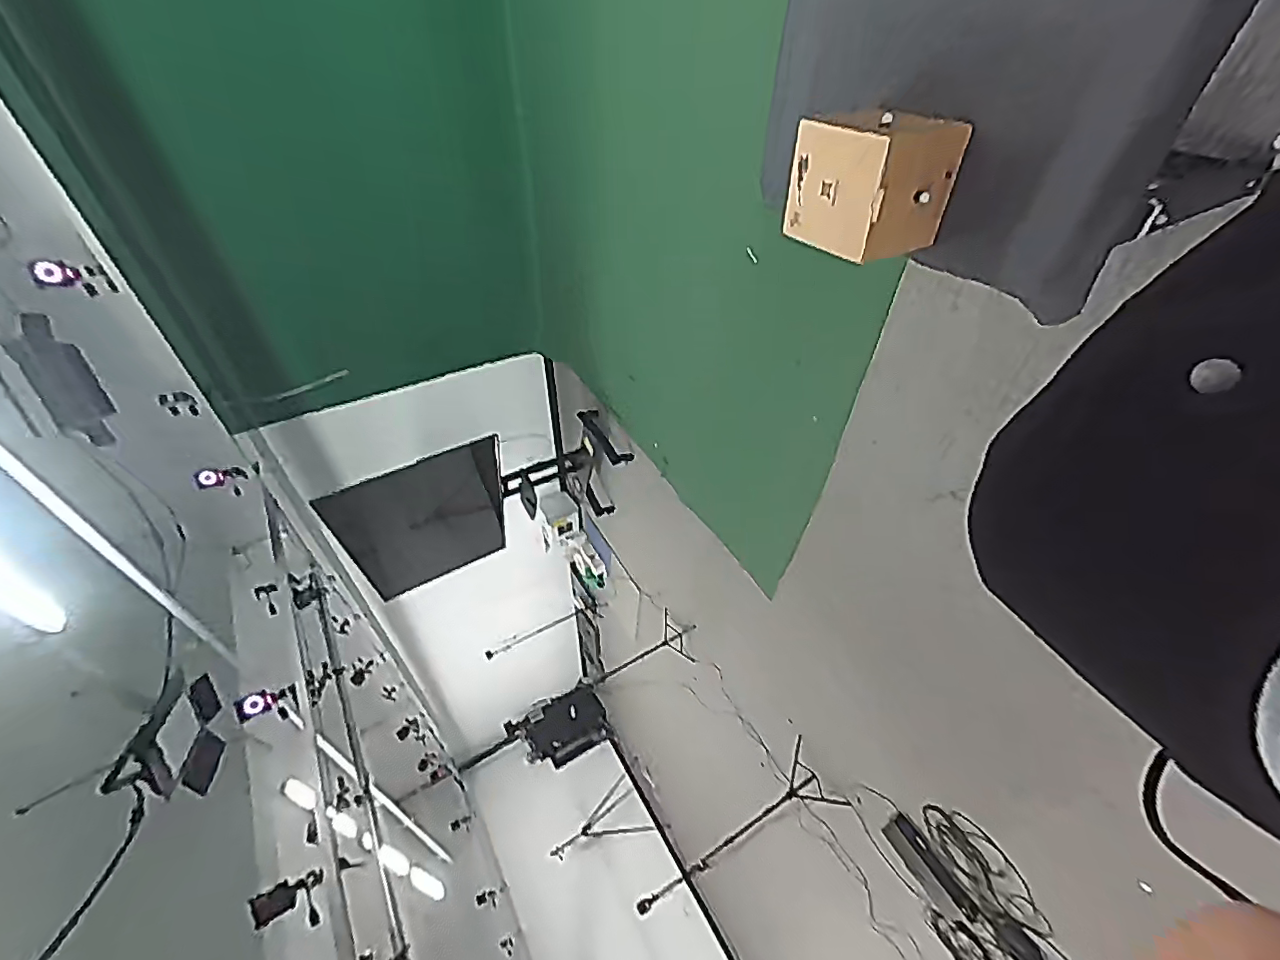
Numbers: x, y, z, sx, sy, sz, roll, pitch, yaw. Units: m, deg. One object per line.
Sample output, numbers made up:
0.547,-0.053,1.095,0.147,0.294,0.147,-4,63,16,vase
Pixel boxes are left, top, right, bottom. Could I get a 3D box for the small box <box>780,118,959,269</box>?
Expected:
0.352,-0.455,0.847,0.179,0.176,0.168,46,149,39,small box
